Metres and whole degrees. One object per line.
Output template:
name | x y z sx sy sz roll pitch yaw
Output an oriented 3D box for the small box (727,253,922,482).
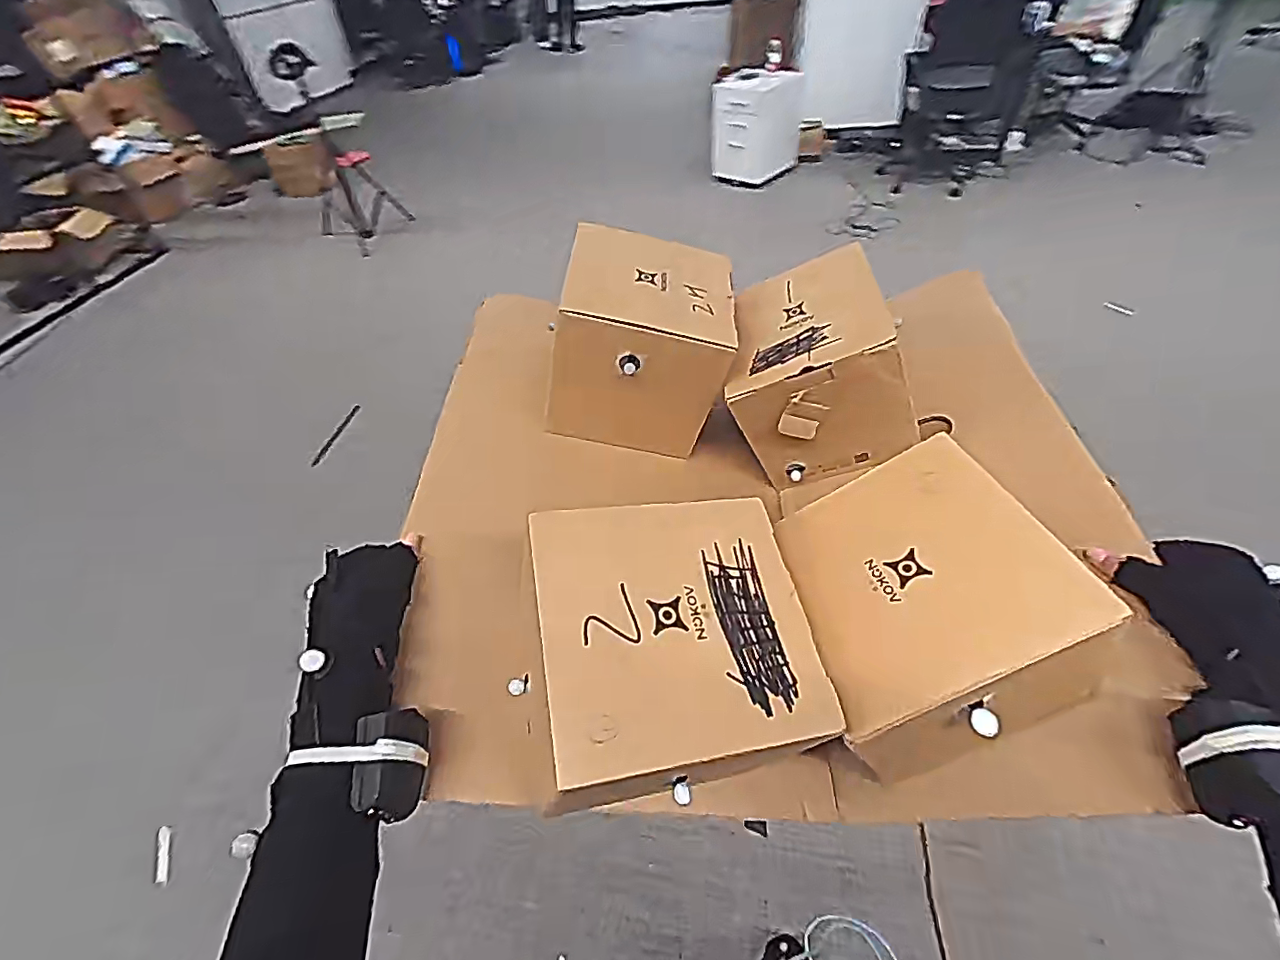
small box | 0.209 -0.115 0.622 0.168 0.176 0.179 -16 46 25
